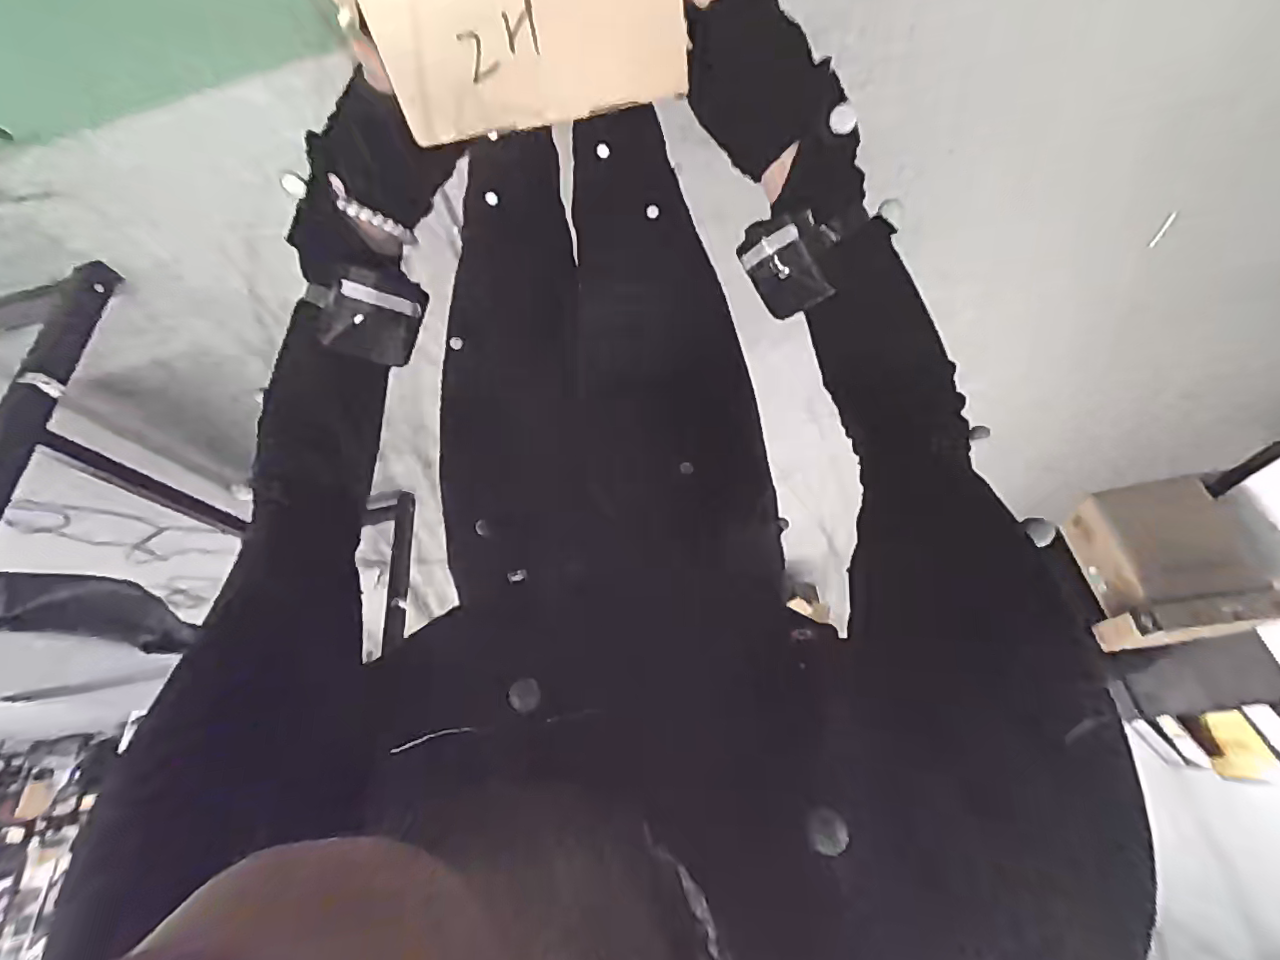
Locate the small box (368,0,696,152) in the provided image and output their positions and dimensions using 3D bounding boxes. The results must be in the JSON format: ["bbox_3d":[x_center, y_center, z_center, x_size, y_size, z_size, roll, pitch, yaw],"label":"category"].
[{"bbox_3d":[-0.065,-0.322,0.311,0.168,0.176,0.179,-9,137,3],"label":"small box"}]
